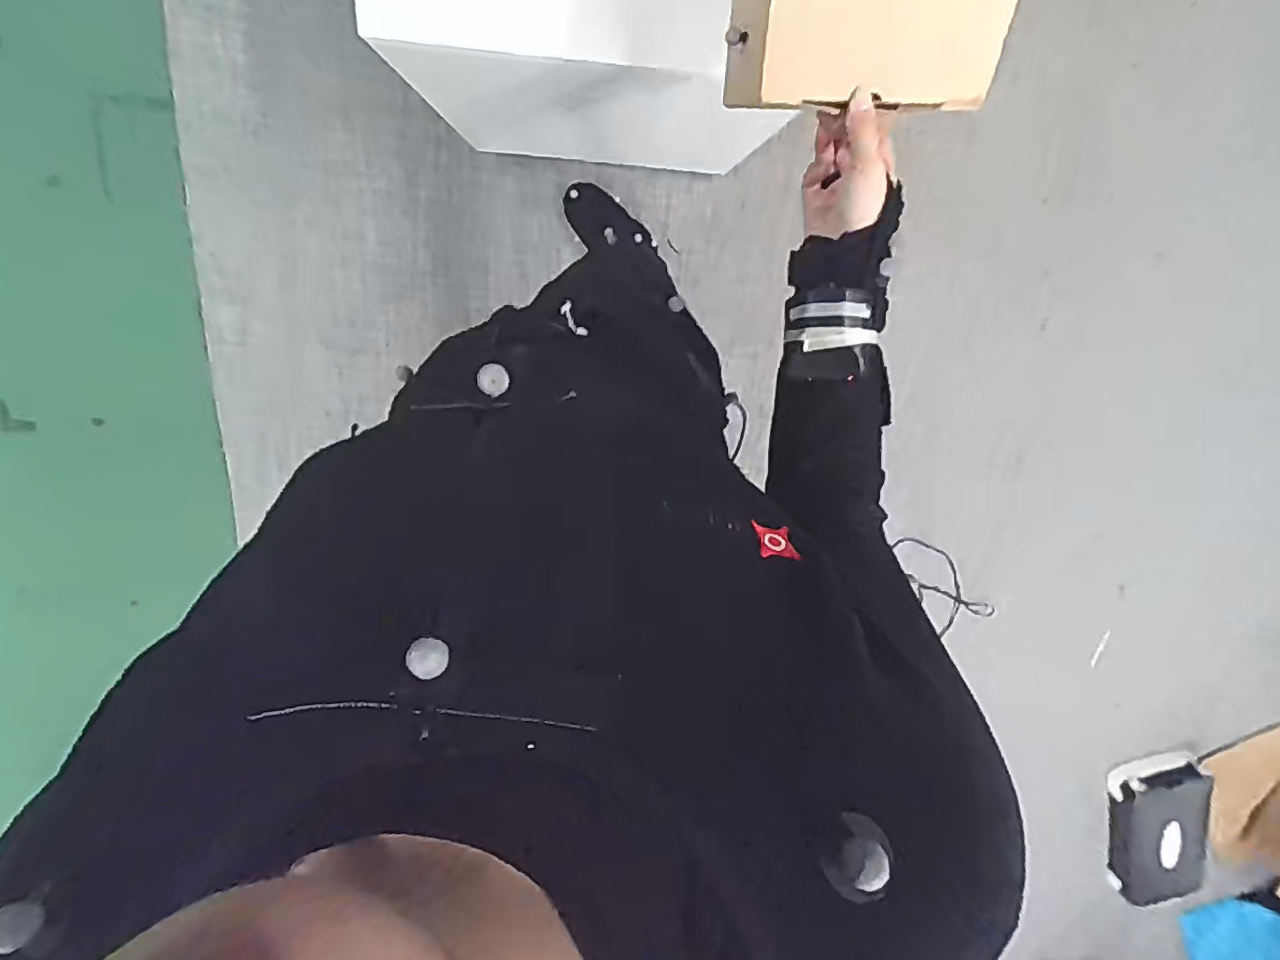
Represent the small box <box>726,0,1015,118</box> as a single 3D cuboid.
[{"bbox_3d":[0.165,-0.383,0.410,0.168,0.176,0.179,-1,122,-3],"label":"small box"}]
